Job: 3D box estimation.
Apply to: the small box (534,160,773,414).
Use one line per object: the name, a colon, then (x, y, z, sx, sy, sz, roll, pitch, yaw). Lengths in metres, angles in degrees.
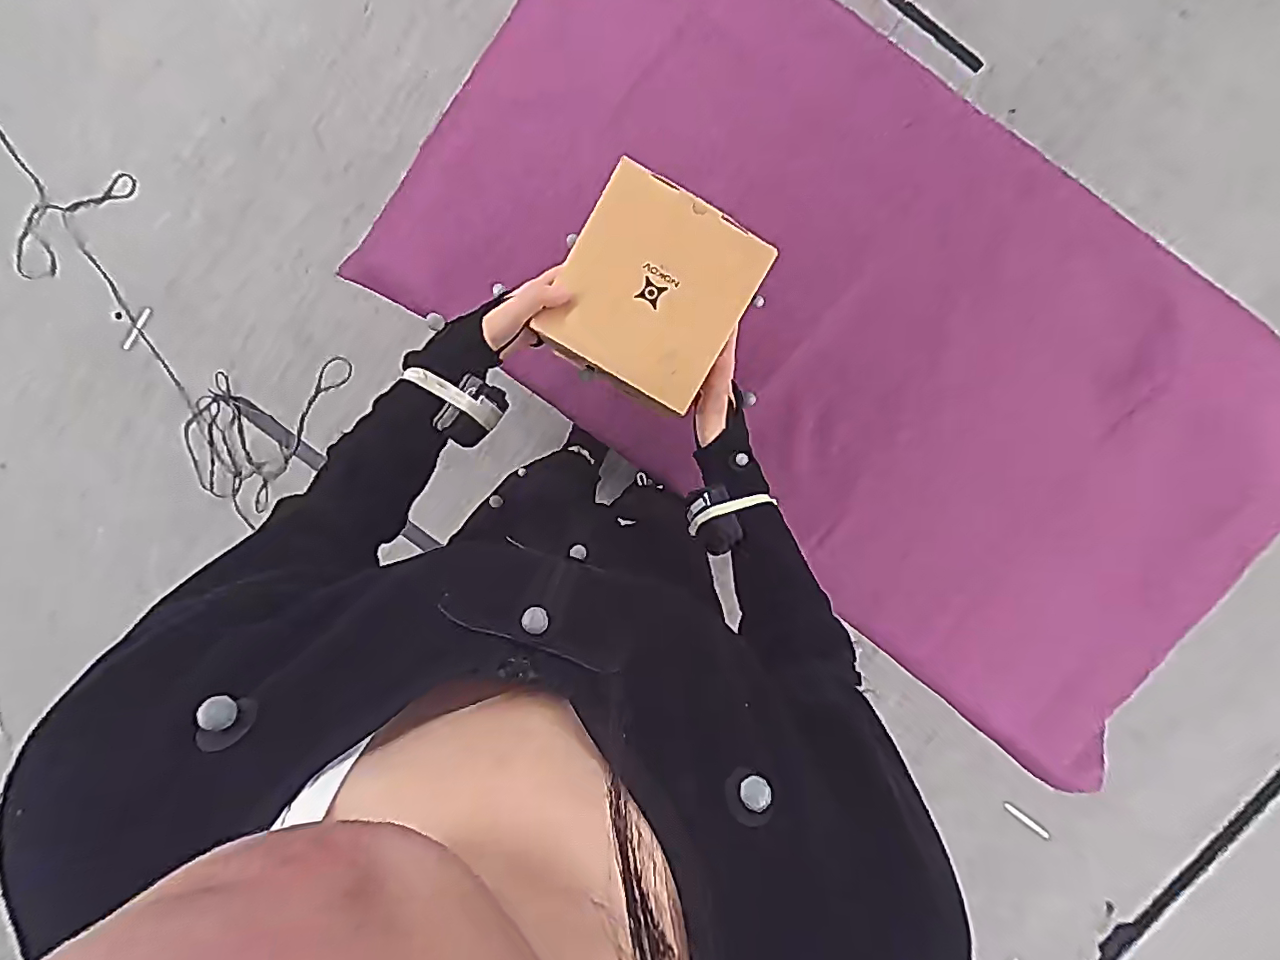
small box: (0.012, -0.183, 0.578, 0.168, 0.176, 0.179, 29, 92, -3)
